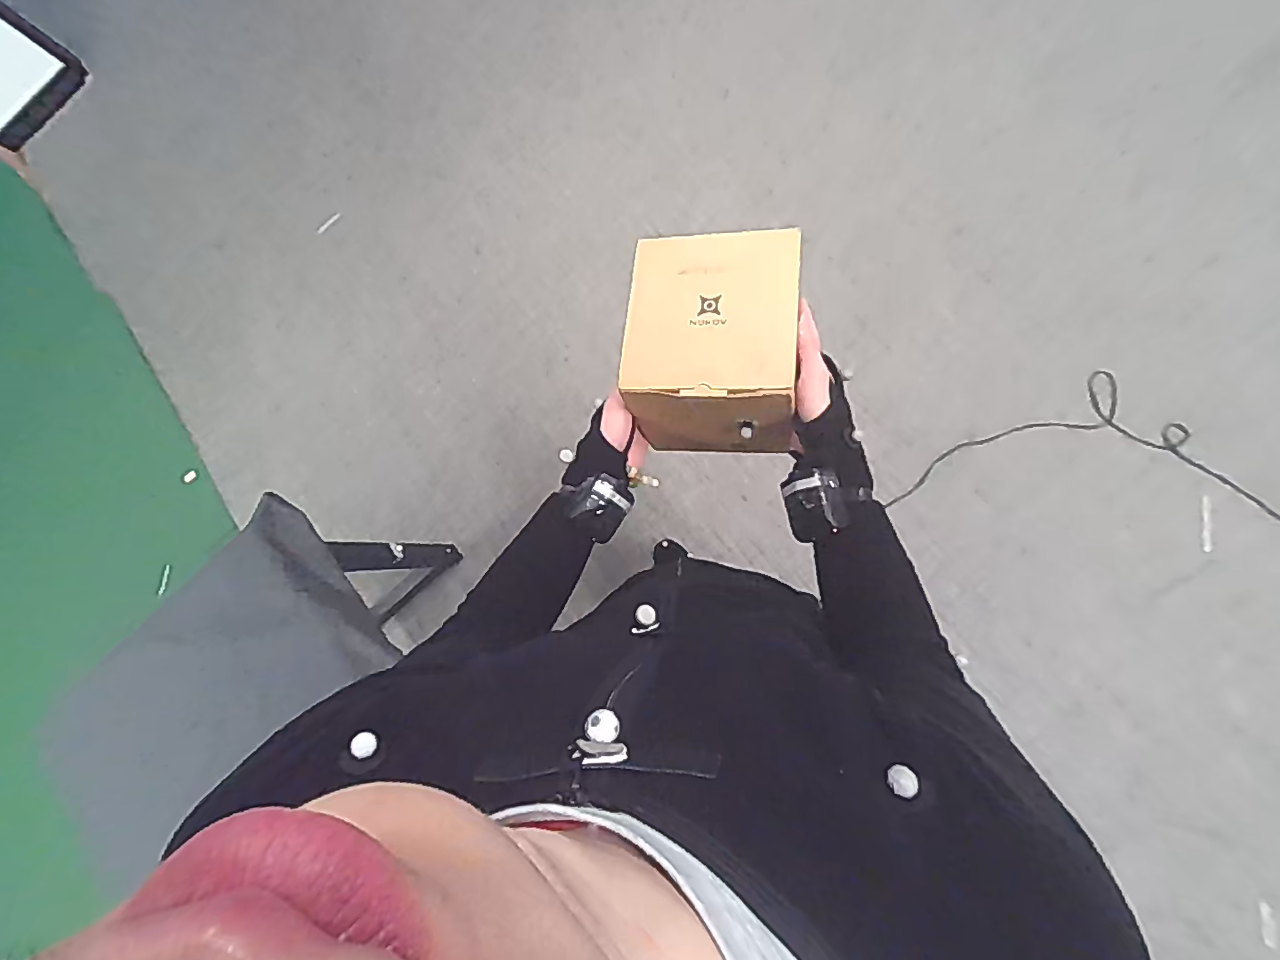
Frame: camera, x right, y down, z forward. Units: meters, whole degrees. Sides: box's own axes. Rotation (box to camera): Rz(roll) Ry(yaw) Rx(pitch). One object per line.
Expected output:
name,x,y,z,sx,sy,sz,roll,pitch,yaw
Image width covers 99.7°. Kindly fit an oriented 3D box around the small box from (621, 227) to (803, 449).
small box,0.087,-0.142,0.593,0.168,0.176,0.179,3,72,14
